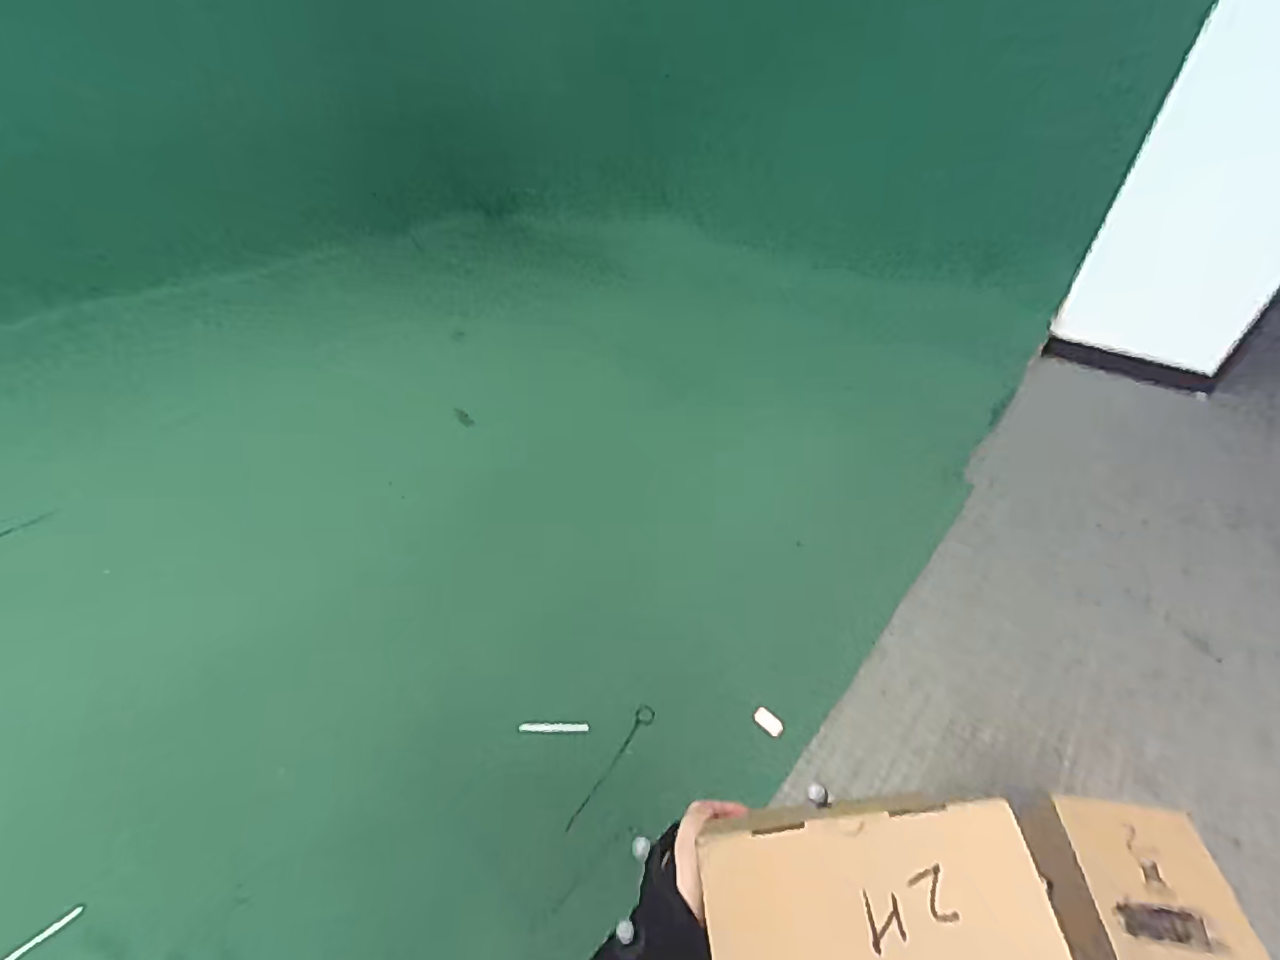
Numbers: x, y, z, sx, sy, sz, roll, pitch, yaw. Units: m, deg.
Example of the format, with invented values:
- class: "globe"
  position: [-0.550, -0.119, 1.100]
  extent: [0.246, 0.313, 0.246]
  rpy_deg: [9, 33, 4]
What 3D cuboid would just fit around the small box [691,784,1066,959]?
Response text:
- class: "small box"
  position: [0.129, 0.286, 0.314]
  extent: [0.168, 0.176, 0.179]
  rpy_deg: [-10, 60, 4]
